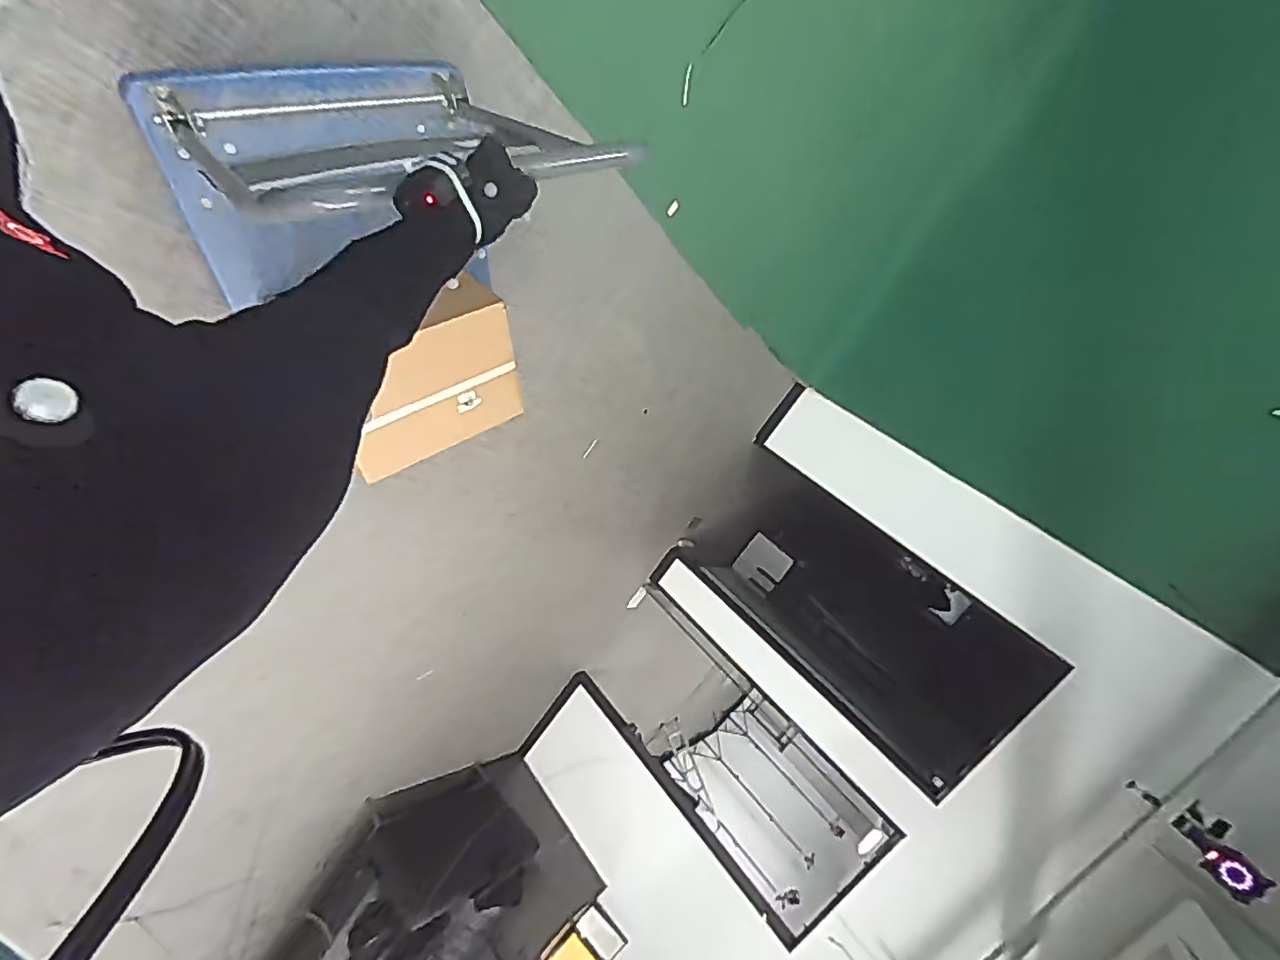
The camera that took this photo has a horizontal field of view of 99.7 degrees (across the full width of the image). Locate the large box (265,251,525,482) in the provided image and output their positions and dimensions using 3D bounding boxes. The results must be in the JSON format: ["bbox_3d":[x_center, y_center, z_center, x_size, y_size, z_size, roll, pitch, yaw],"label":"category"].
[{"bbox_3d":[-0.537,-0.274,1.244,0.408,0.320,0.320,-33,147,-27],"label":"large box"}]
